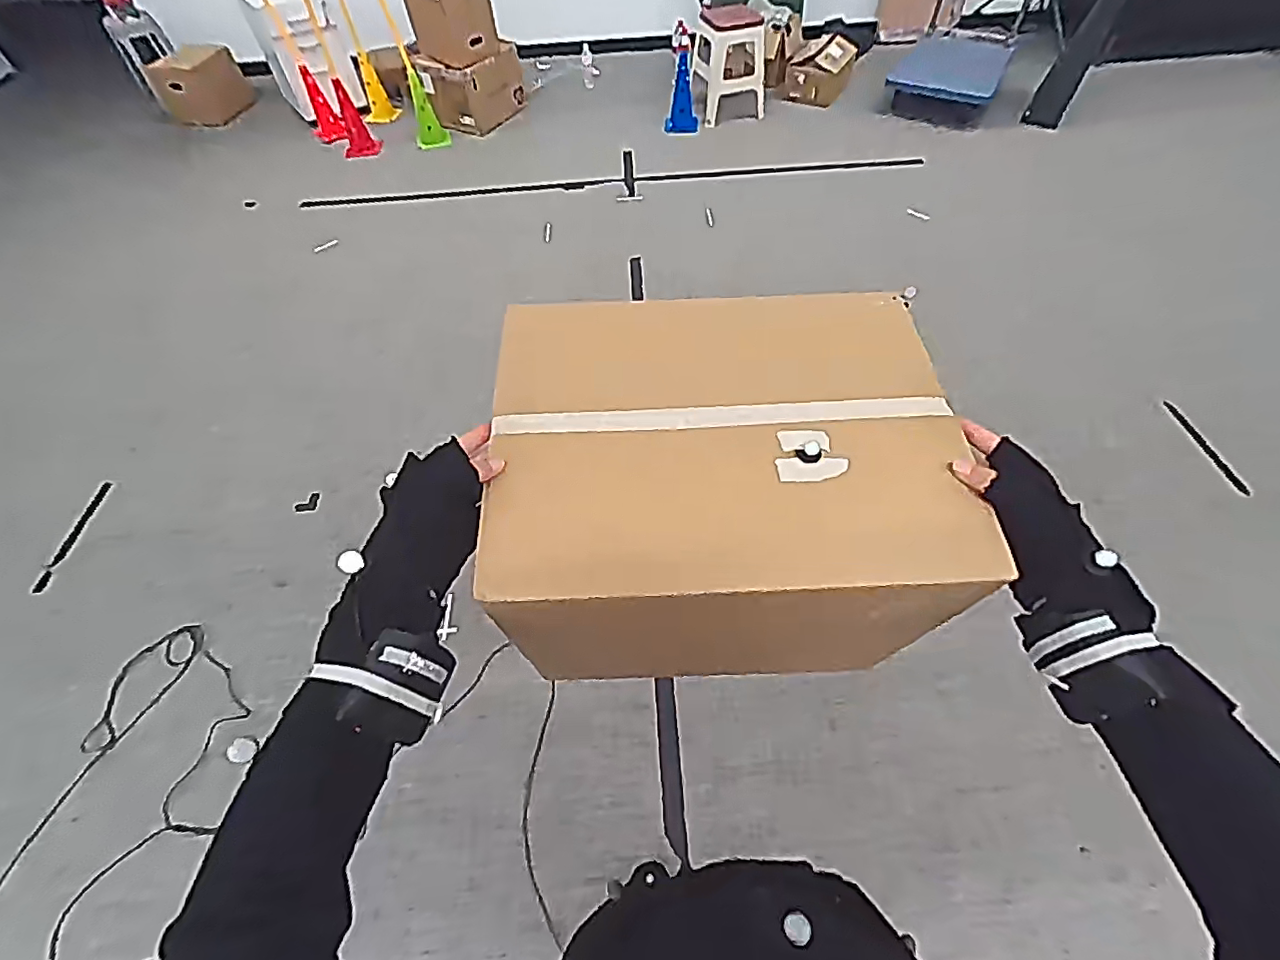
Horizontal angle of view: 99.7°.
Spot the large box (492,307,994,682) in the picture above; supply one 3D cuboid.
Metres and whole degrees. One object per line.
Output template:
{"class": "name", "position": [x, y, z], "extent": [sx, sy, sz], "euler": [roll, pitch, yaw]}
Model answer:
{"class": "large box", "position": [0.074, 0.033, 0.622], "extent": [0.408, 0.320, 0.320], "euler": [-2, 59, -1]}
